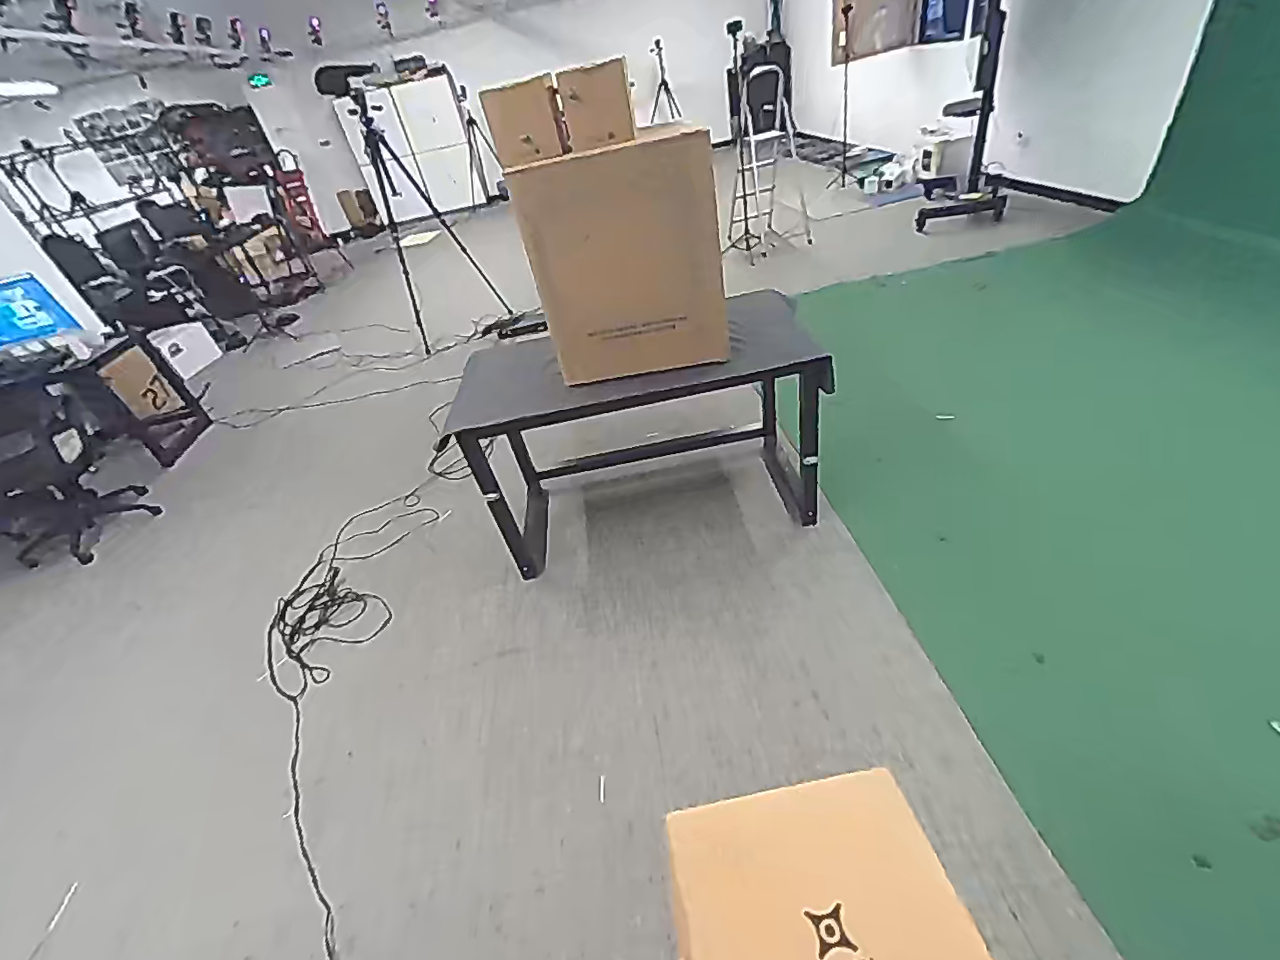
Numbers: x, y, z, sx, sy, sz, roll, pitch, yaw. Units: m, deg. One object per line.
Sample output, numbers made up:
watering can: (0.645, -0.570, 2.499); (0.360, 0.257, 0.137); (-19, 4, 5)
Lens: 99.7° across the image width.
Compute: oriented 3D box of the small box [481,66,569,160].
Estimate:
small box: (-0.284, -0.938, 1.384); (0.168, 0.176, 0.179); (-9, 39, 7)

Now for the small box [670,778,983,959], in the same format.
small box: (0.114, 0.338, 0.357); (0.168, 0.176, 0.179); (-8, 35, -6)
